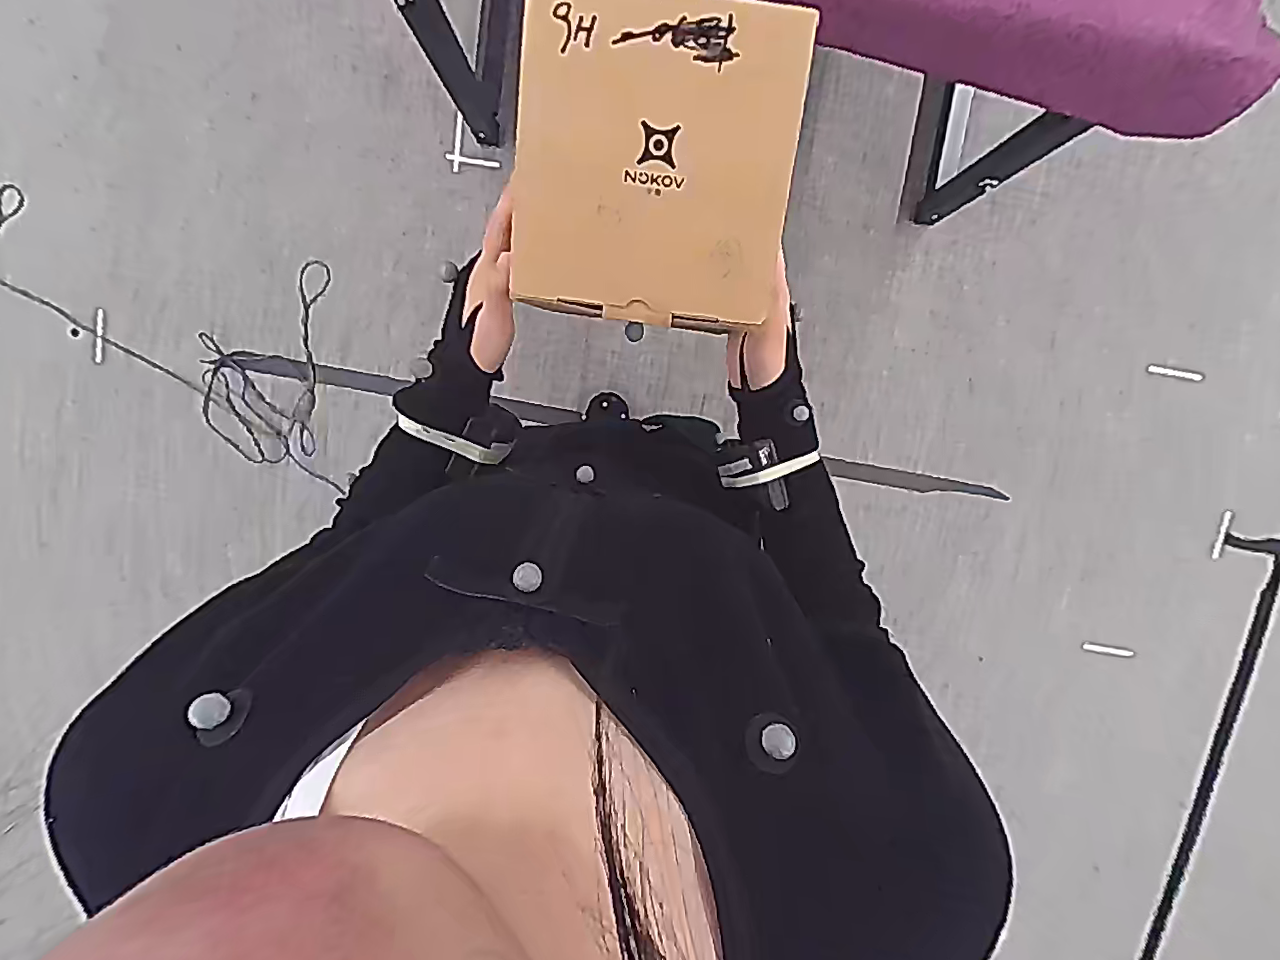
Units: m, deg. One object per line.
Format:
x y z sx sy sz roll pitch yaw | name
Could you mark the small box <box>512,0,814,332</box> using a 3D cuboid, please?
0.009 -0.211 0.405 0.168 0.176 0.179 7 105 -2 | small box
